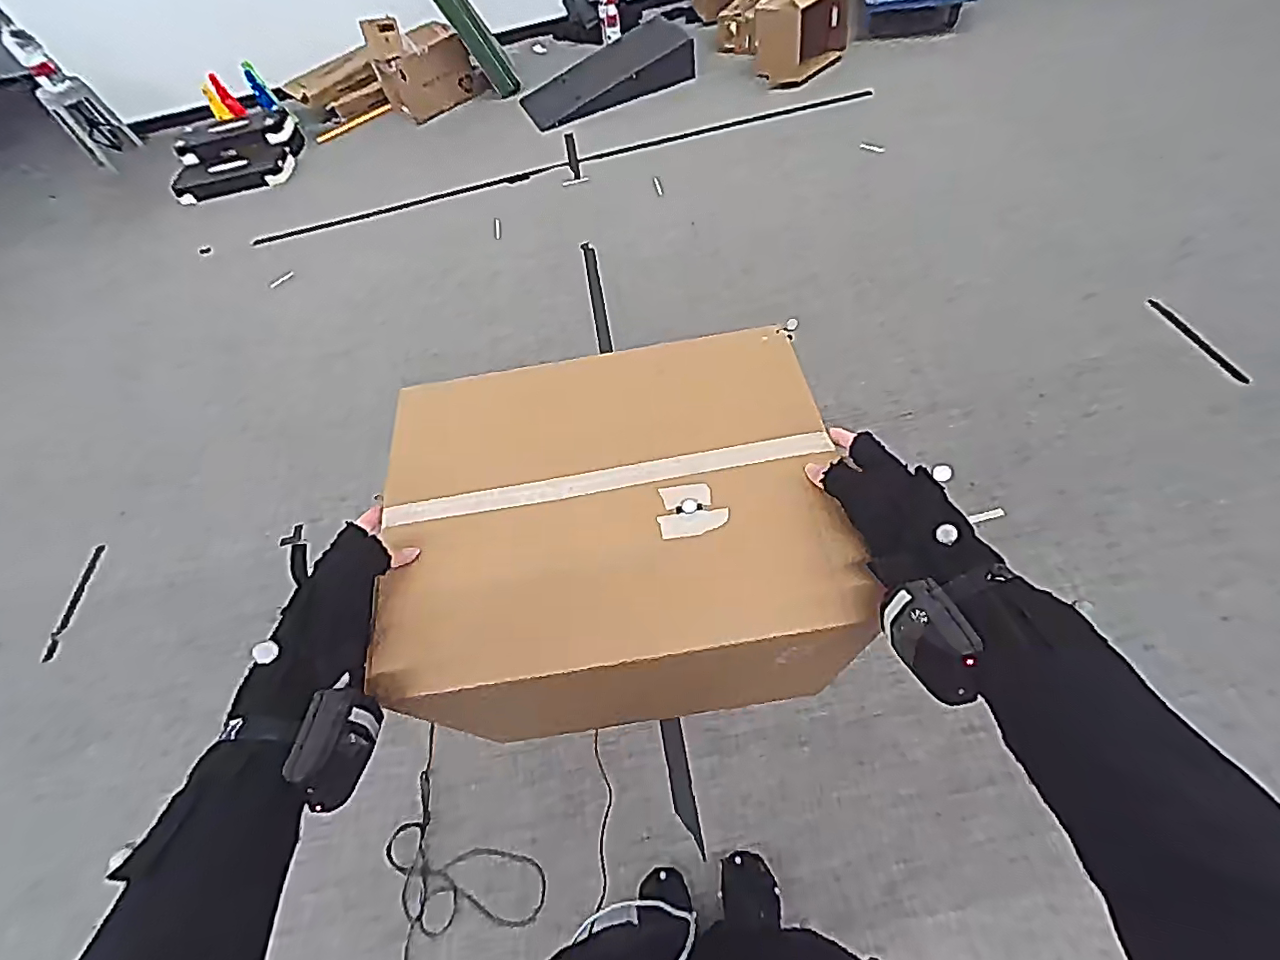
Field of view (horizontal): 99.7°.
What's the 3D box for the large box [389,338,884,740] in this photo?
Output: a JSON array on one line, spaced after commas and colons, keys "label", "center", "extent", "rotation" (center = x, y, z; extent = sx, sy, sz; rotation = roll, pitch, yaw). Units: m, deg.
[{"label": "large box", "center": [-0.013, 0.085, 0.625], "extent": [0.408, 0.320, 0.320], "rotation": [-9, 59, -1]}]
